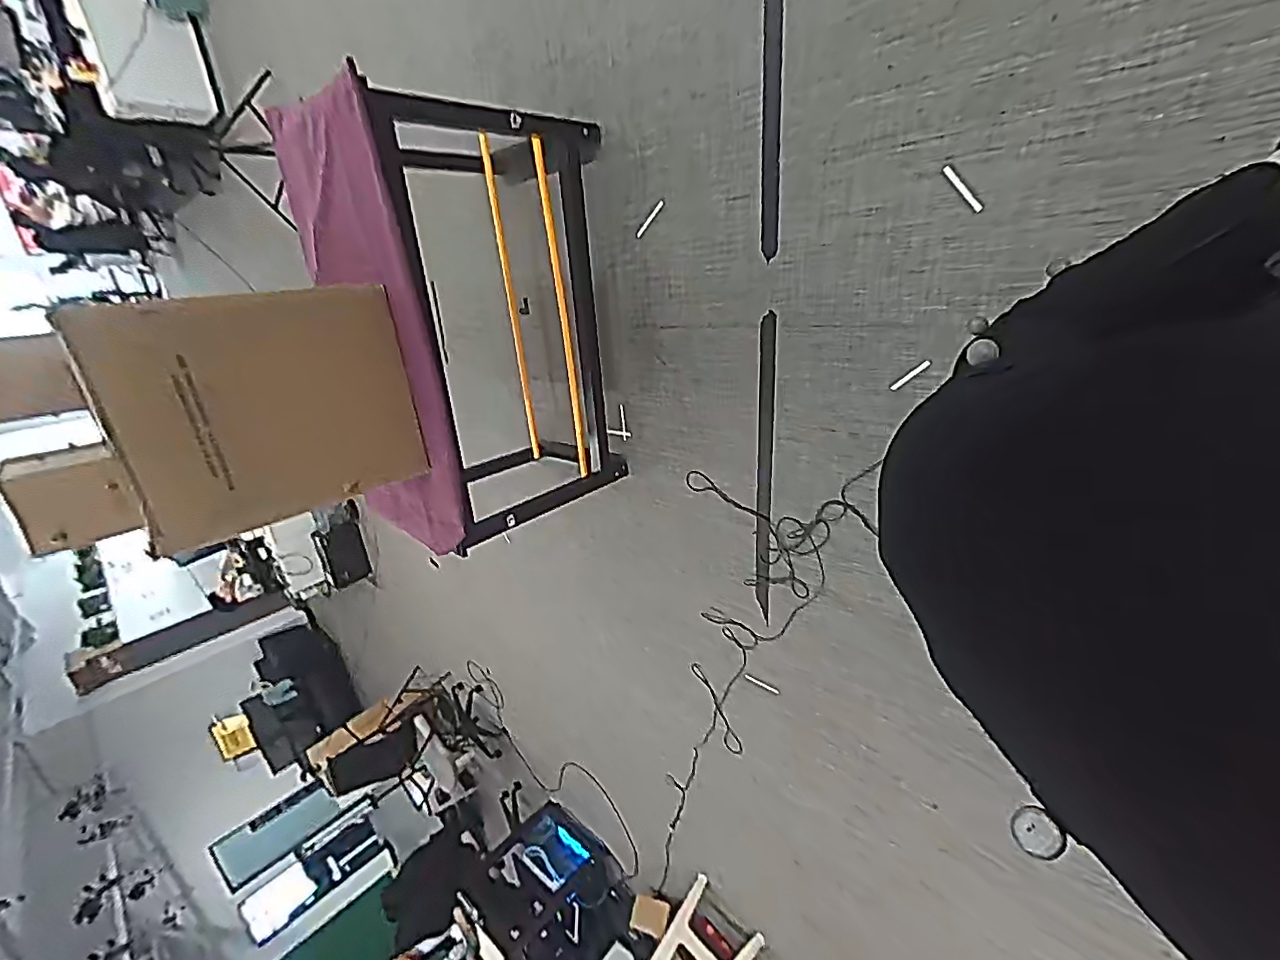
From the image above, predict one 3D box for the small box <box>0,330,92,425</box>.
[{"bbox_3d":[-1.337,-0.226,1.165,0.168,0.176,0.179,12,118,42],"label":"small box"}]
